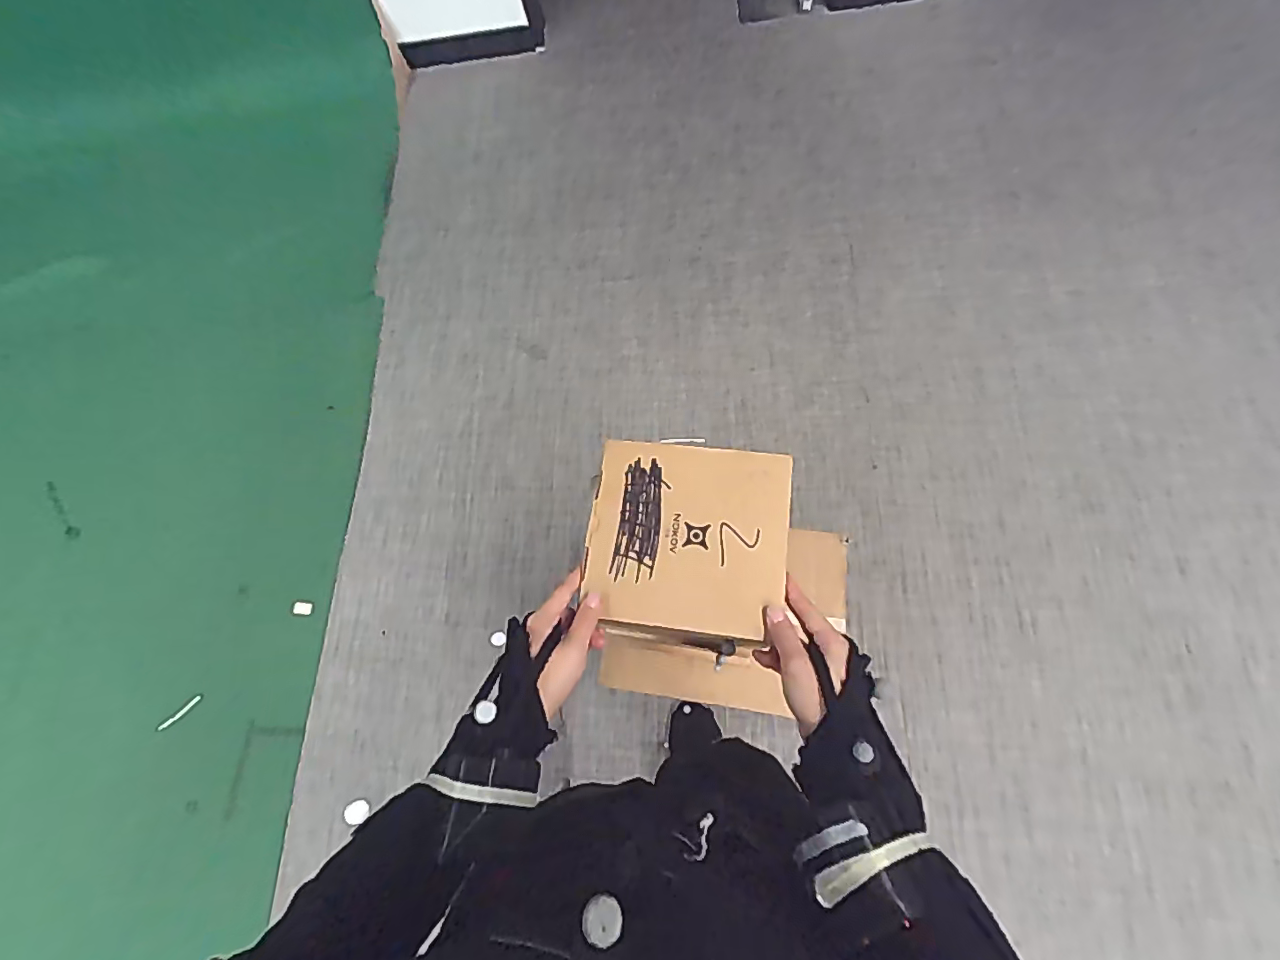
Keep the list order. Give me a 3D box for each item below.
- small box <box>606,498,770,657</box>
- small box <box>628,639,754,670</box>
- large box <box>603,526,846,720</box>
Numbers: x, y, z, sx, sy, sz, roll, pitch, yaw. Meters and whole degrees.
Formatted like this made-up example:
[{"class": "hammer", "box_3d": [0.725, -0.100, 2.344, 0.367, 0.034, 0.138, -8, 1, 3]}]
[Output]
[{"class": "small box", "box_3d": [0.067, 0.133, 0.700, 0.179, 0.176, 0.168, 5, 72, 9]}, {"class": "small box", "box_3d": [0.090, 0.198, 0.848, 0.179, 0.176, 0.168, 6, 72, 10]}, {"class": "large box", "box_3d": [0.162, 0.269, 1.073, 0.408, 0.320, 0.320, 5, 74, 8]}]
